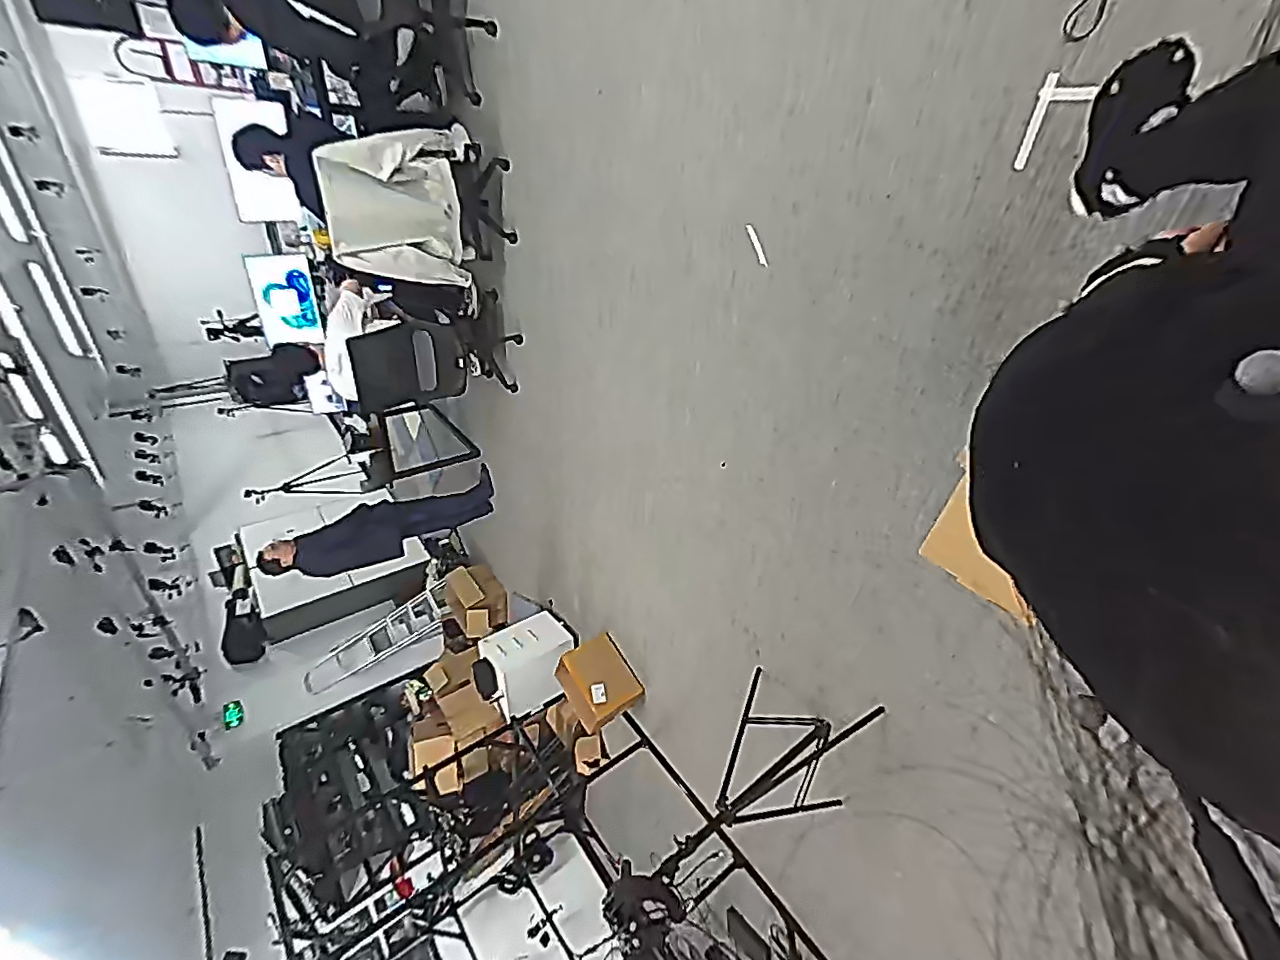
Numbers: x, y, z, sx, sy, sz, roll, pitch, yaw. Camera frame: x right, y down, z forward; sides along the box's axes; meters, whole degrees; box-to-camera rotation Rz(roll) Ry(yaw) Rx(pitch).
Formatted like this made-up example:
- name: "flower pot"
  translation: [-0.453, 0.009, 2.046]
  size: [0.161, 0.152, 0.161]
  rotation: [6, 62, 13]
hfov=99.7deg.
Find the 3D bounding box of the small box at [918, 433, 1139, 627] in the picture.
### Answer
- name: "small box"
  translation: [0.527, 0.057, 0.737]
  size: [0.168, 0.176, 0.179]
  rotation: [40, 137, 36]
